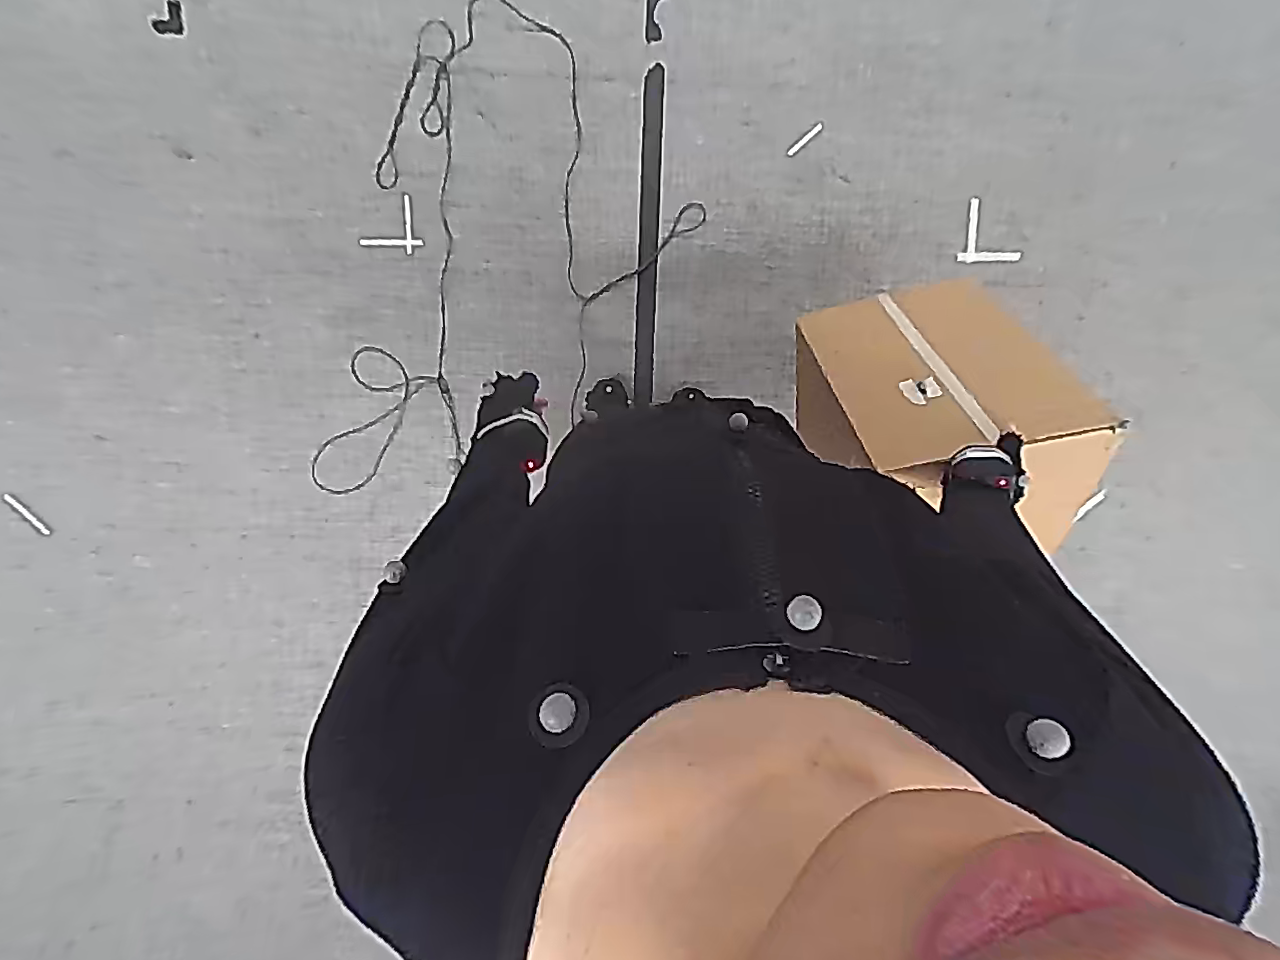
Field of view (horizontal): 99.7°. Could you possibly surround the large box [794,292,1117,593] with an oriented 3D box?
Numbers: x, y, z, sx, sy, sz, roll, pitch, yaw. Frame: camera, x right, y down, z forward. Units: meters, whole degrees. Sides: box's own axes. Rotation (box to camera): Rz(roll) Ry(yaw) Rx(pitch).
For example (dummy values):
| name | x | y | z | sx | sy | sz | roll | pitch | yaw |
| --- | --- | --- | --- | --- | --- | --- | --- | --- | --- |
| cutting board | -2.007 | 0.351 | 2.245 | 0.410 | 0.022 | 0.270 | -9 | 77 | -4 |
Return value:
| name | x | y | z | sx | sy | sz | roll | pitch | yaw |
| --- | --- | --- | --- | --- | --- | --- | --- | --- | --- |
| large box | 0.484 | -0.070 | 0.960 | 0.320 | 0.408 | 0.320 | -13 | 136 | 5 |
